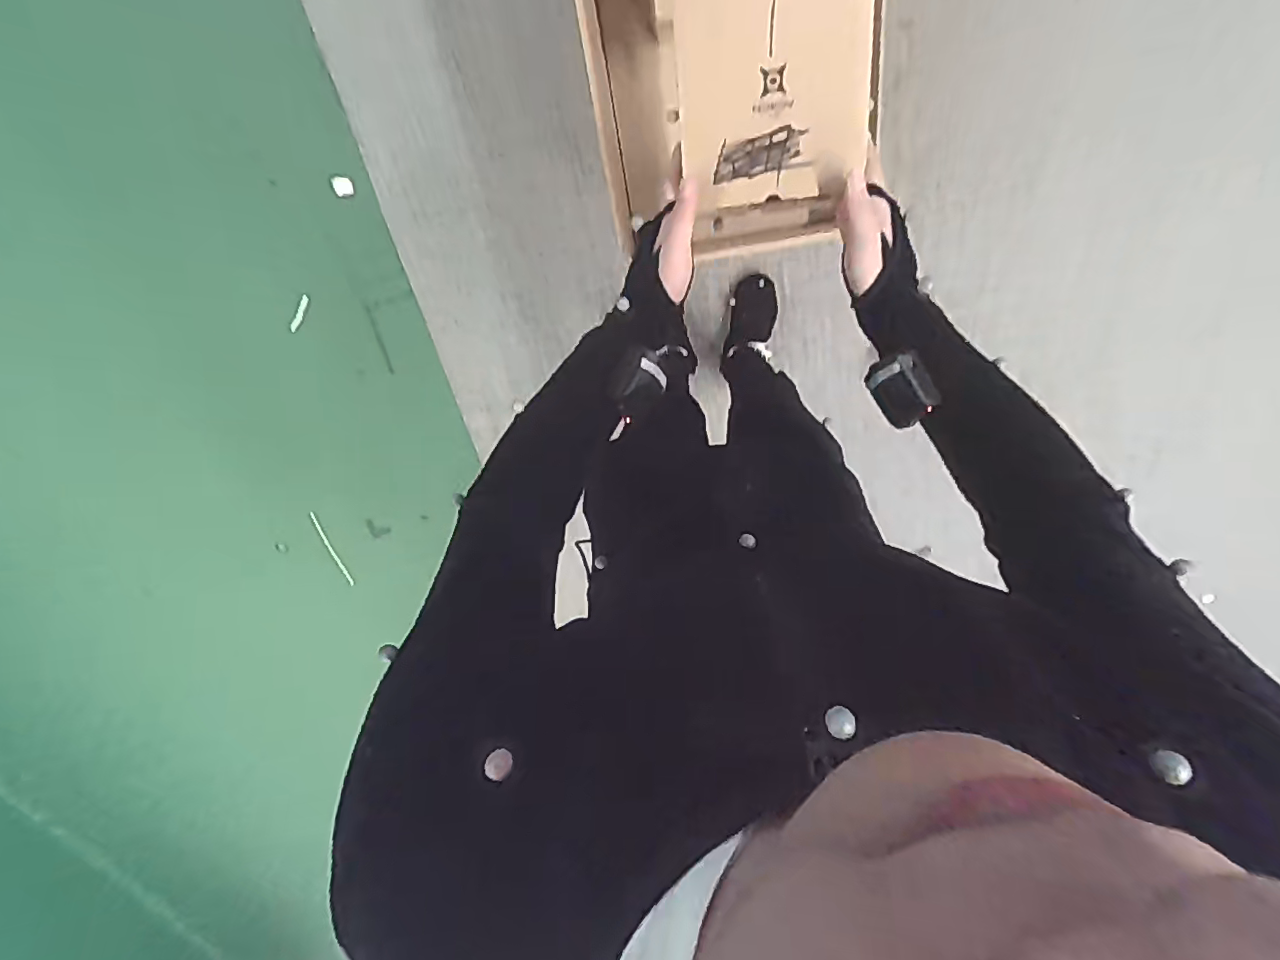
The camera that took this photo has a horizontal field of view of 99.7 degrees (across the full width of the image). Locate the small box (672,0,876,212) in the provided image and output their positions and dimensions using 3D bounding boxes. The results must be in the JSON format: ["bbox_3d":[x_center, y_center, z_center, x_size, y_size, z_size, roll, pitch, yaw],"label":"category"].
[{"bbox_3d":[0.124,-0.371,0.536,0.168,0.176,0.179,-2,112,9],"label":"small box"}]
